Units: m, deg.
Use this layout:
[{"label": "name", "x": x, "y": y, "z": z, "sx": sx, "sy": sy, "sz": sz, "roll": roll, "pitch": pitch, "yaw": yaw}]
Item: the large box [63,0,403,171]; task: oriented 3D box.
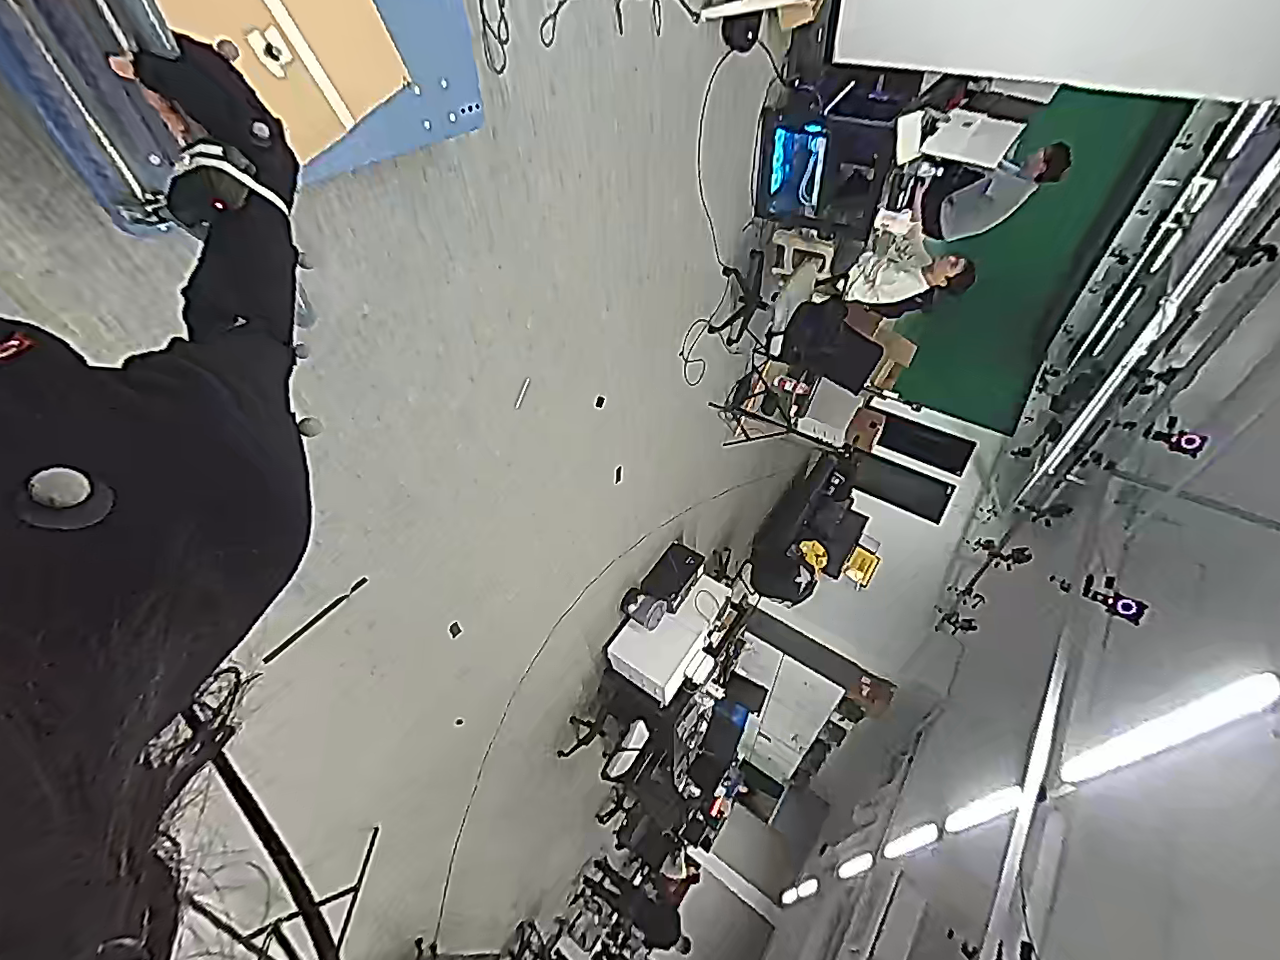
[{"label": "large box", "x": -0.670, "y": -0.775, "z": 0.823, "sx": 0.320, "sy": 0.320, "sz": 0.408, "roll": -53, "pitch": 154, "yaw": -19}]
